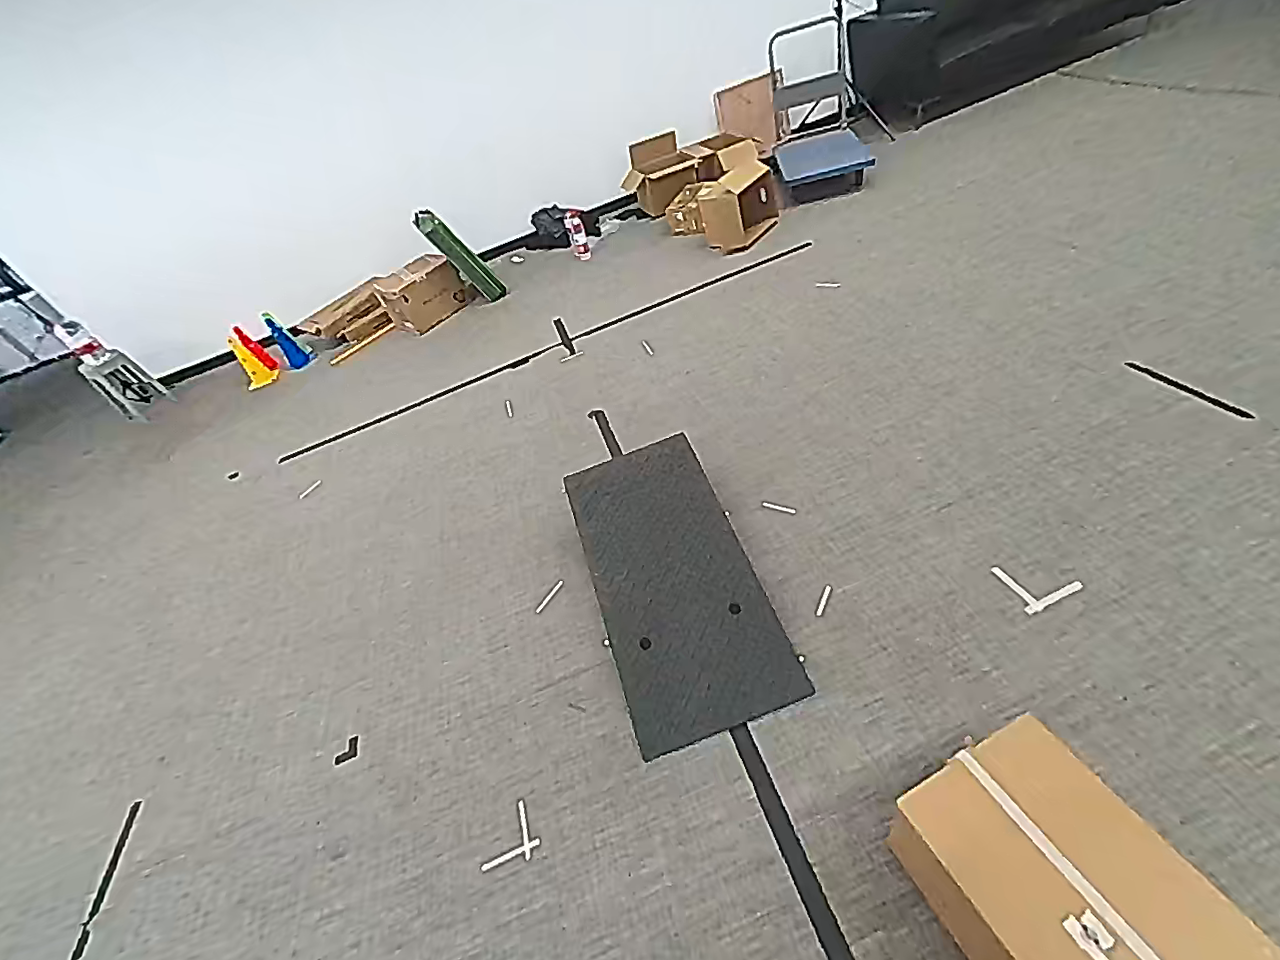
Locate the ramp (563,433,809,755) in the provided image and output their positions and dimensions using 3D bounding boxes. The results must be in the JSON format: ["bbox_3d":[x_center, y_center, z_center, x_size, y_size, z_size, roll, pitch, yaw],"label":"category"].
[{"bbox_3d":[0.087,0.279,1.736,0.509,0.206,0.991,-22,43,-3],"label":"ramp"}]

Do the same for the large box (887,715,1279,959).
[{"bbox_3d":[0.713,0.721,0.960,0.320,0.320,0.408,-28,44,-8],"label":"large box"}]
